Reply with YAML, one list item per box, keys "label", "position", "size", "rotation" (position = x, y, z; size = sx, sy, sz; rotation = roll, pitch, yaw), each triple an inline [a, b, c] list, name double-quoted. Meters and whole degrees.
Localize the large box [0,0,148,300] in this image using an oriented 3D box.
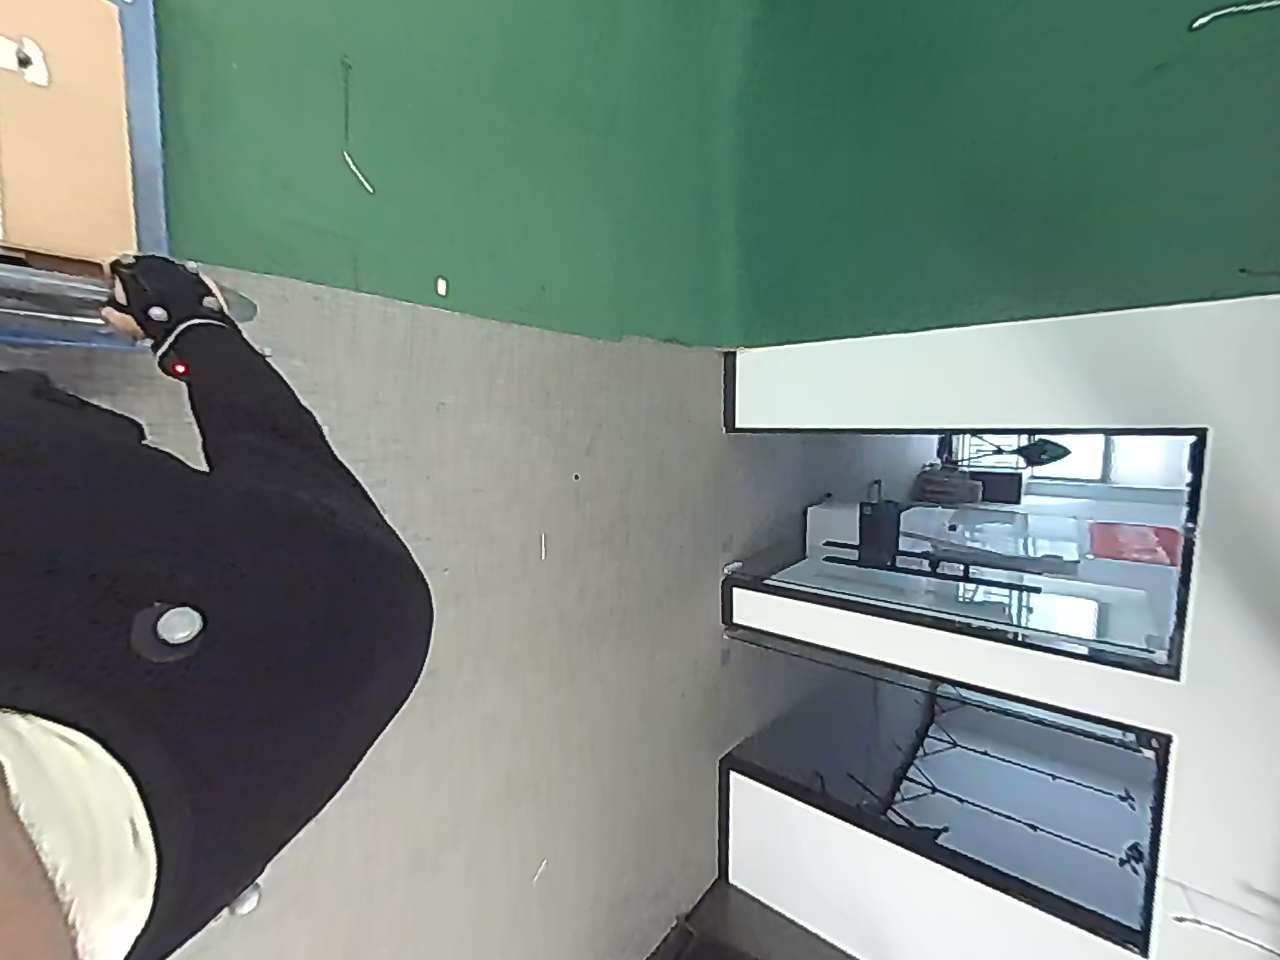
- label: "large box"
  position: [-1.013, -0.527, 0.835]
  size: [0.320, 0.320, 0.408]
  rotation: [-6, 97, -51]
